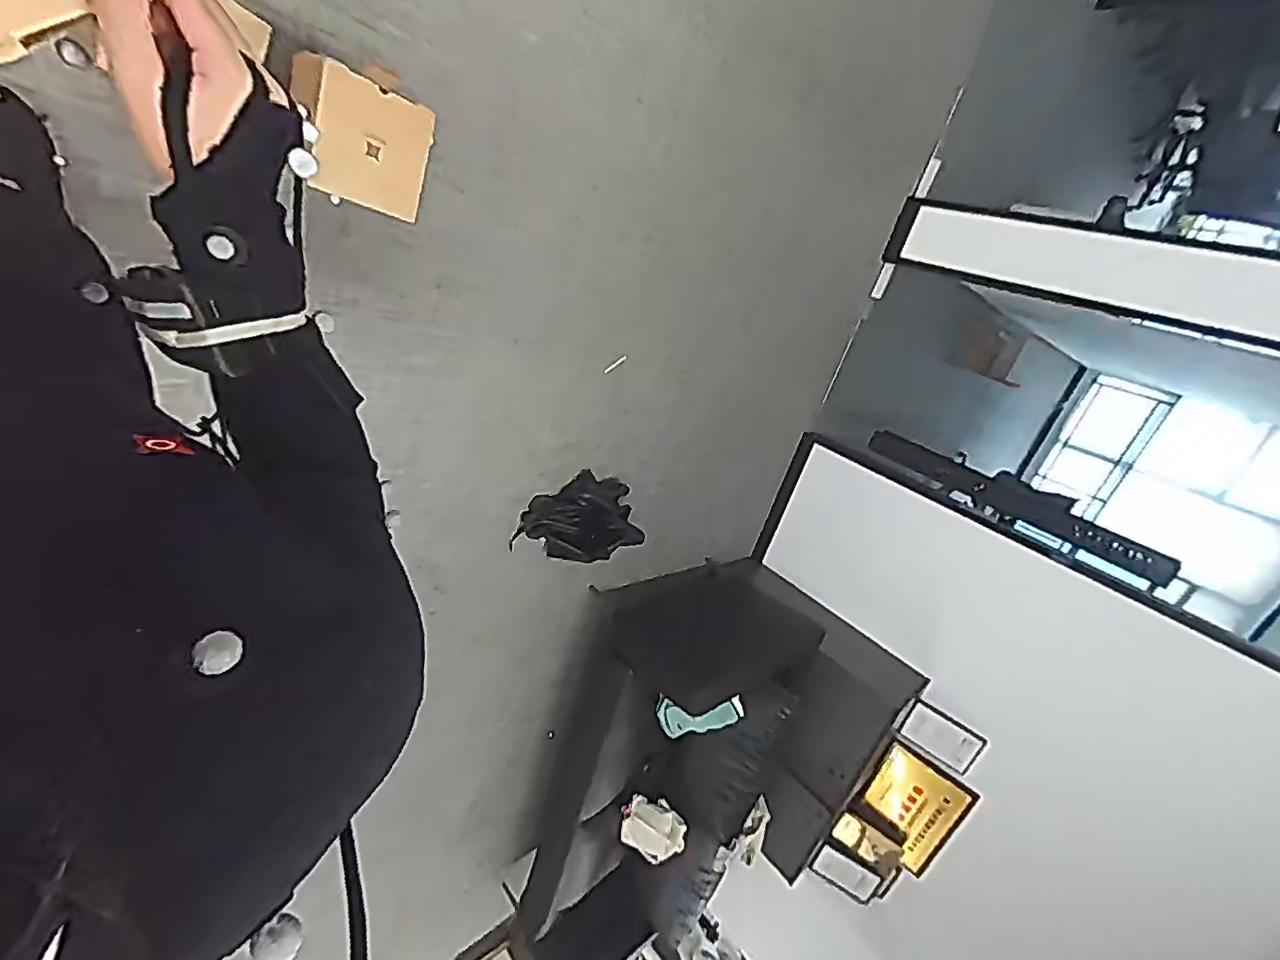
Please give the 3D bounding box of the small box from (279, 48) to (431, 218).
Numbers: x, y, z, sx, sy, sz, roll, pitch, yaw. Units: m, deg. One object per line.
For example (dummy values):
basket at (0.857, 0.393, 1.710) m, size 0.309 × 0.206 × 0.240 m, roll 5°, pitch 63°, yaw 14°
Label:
small box at (-0.472, -0.561, 0.885) m, size 0.168 × 0.176 × 0.179 m, roll 0°, pitch 117°, yaw -47°

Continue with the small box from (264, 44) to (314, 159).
small box at (-0.564, -0.650, 0.987) m, size 0.168 × 0.176 × 0.179 m, roll 0°, pitch 117°, yaw -47°
